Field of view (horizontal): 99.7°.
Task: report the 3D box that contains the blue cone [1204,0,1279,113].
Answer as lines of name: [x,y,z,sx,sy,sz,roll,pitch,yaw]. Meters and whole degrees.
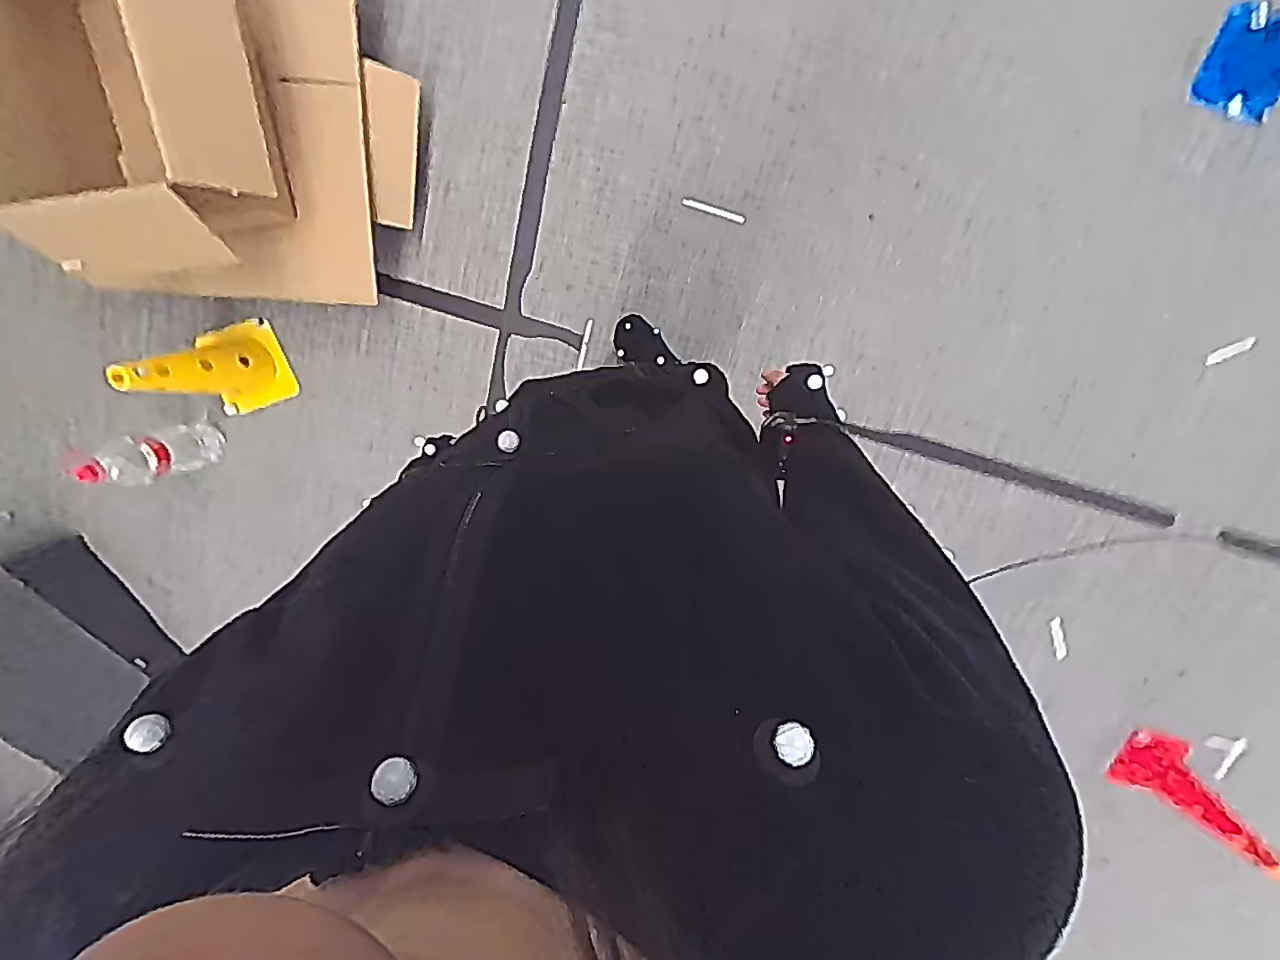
blue cone: [1.359,-0.888,1.030,0.192,0.380,0.193,18,105,-6]
